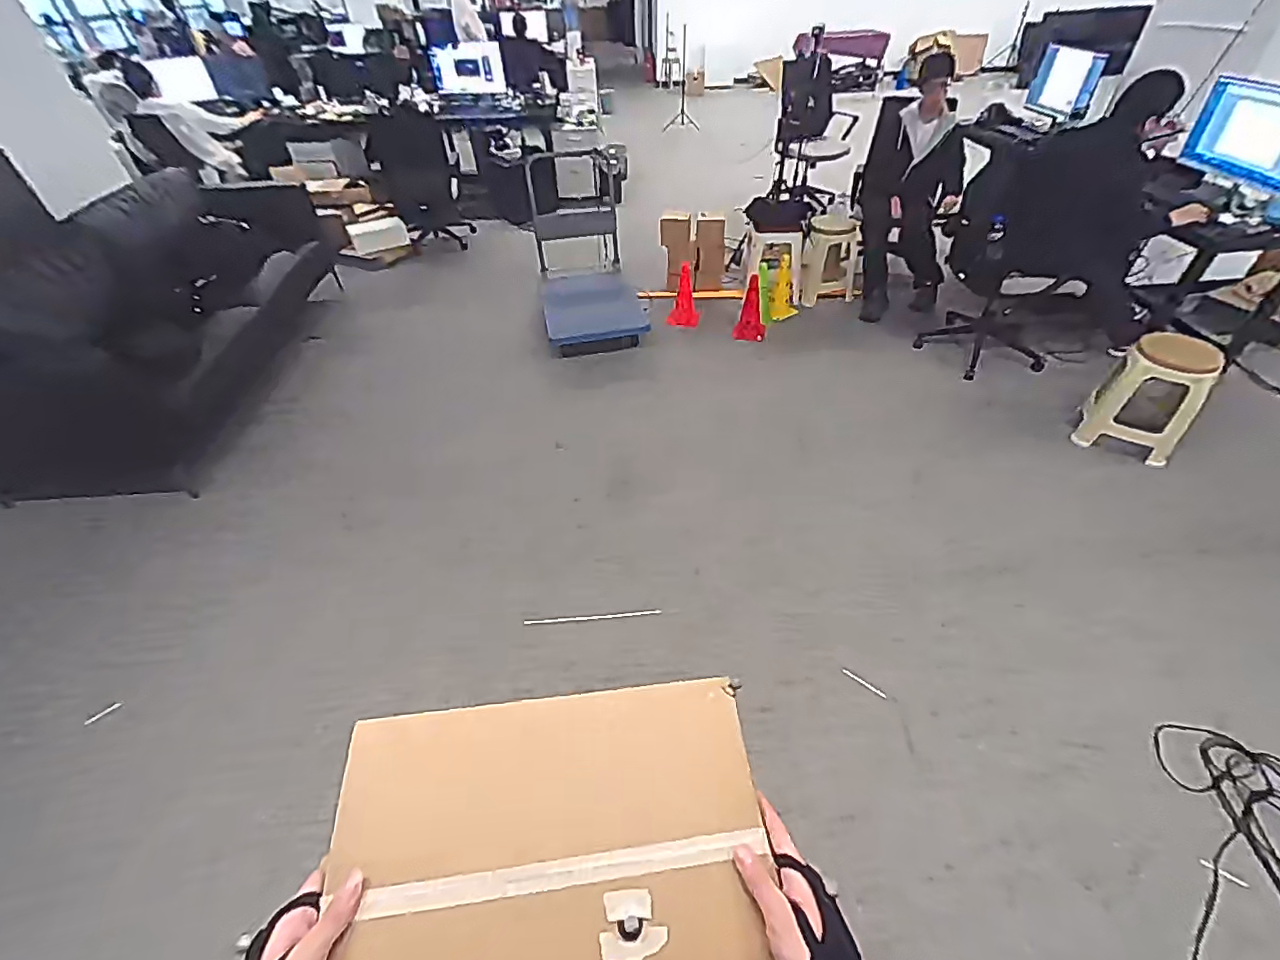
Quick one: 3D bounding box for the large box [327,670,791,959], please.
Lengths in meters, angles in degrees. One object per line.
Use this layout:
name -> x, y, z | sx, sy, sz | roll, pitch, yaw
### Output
large box -> -0.086, 0.448, 0.630 | 0.408, 0.320, 0.320 | -4, 53, -7
